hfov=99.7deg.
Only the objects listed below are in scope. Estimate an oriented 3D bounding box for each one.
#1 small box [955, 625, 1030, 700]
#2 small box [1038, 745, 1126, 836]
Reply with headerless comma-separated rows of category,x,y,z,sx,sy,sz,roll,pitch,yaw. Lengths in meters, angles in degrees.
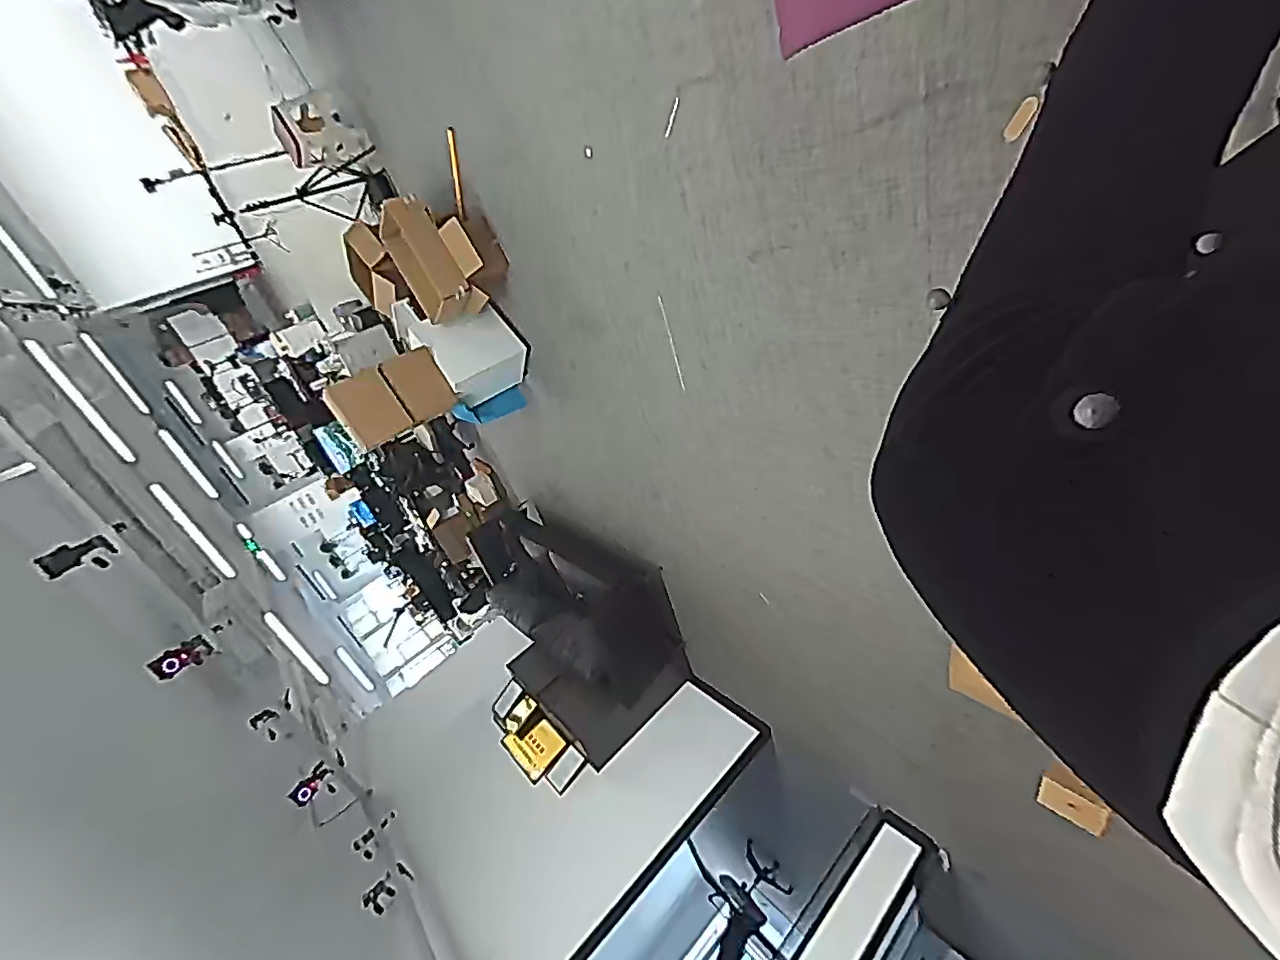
small box,1.313,0.671,2.016,0.179,0.176,0.168,23,140,44
small box,1.472,1.021,1.802,0.179,0.176,0.168,22,138,45
